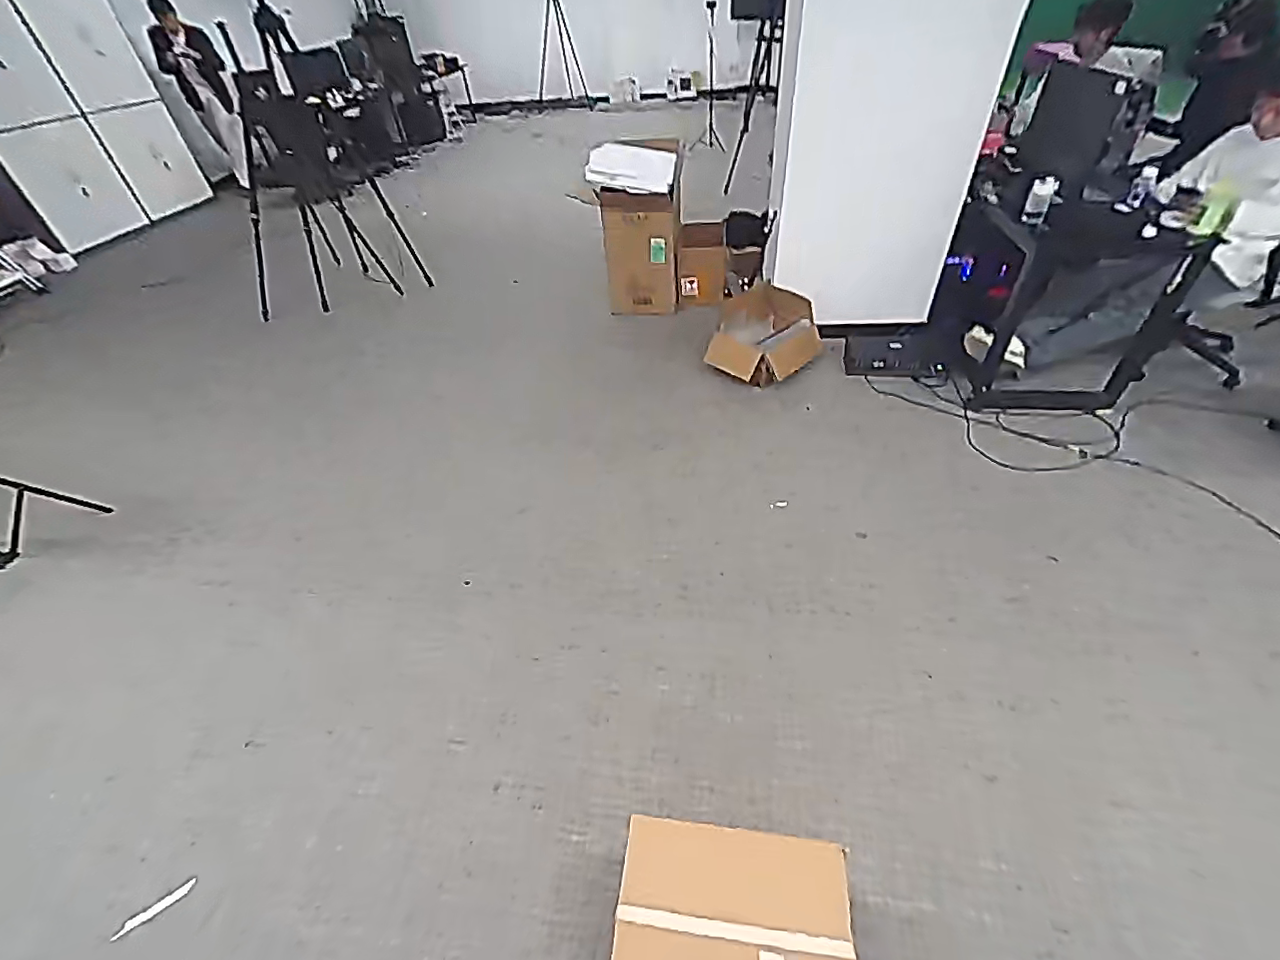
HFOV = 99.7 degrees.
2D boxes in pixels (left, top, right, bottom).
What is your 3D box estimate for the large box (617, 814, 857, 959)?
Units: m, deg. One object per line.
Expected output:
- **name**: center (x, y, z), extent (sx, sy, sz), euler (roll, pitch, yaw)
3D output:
- **large box**: center (0.172, 0.883, 1.034), extent (0.408, 0.320, 0.320), euler (3, 43, 8)
